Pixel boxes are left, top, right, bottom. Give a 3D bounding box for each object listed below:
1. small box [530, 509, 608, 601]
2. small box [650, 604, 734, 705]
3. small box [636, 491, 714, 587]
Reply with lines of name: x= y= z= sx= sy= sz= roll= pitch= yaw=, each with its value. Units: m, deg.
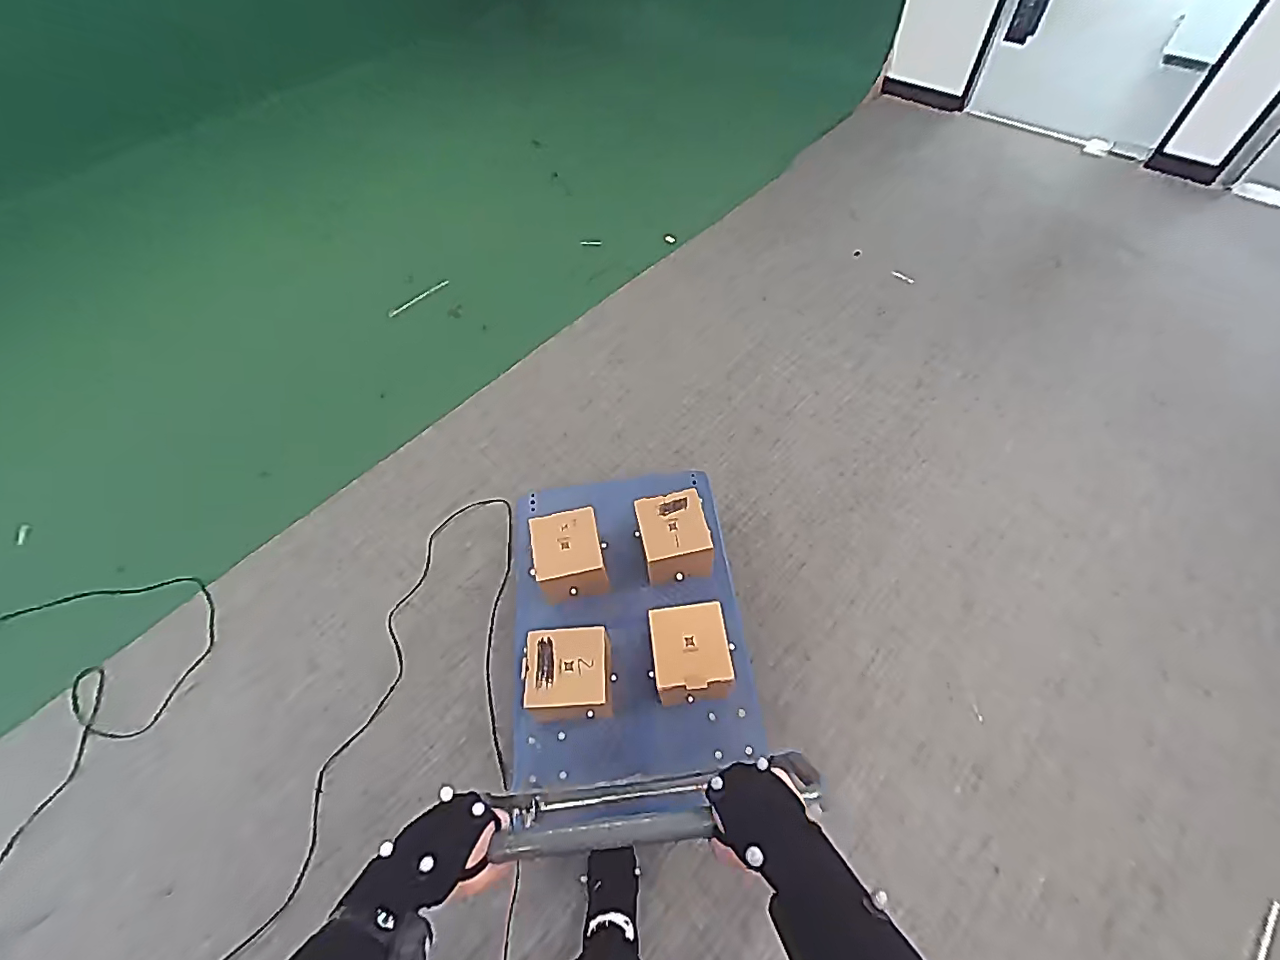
small box: x=-0.180 y=0.200 z=1.391 sx=0.168 sy=0.176 sz=0.179 roll=-11 pitch=58 yaw=-4
small box: x=0.113 y=0.404 z=1.245 sx=0.168 sy=0.176 sz=0.179 roll=-7 pitch=58 yaw=-1
small box: x=0.086 y=0.156 z=1.404 sx=0.168 sy=0.176 sz=0.179 roll=-11 pitch=59 yaw=-3
